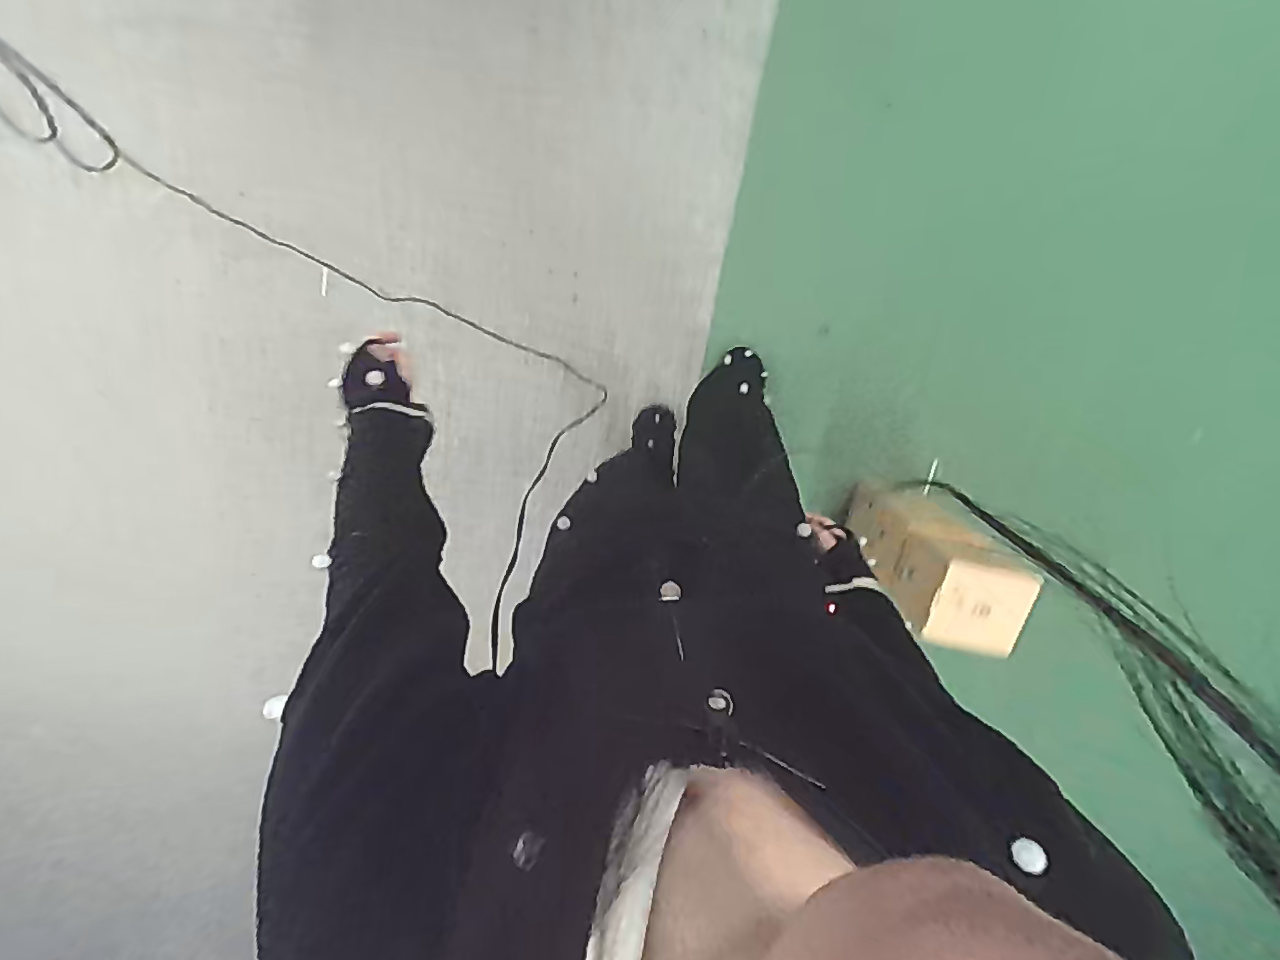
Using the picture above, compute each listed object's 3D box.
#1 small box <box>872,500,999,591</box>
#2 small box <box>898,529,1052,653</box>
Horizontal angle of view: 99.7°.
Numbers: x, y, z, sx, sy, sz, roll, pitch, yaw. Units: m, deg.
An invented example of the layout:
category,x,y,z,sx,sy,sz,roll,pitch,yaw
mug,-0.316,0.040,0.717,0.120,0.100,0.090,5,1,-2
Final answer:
category,x,y,z,sx,sy,sz,roll,pitch,yaw
small box,0.661,0.157,1.233,0.179,0.176,0.168,10,108,1
small box,0.652,0.213,1.078,0.179,0.176,0.168,11,107,1
